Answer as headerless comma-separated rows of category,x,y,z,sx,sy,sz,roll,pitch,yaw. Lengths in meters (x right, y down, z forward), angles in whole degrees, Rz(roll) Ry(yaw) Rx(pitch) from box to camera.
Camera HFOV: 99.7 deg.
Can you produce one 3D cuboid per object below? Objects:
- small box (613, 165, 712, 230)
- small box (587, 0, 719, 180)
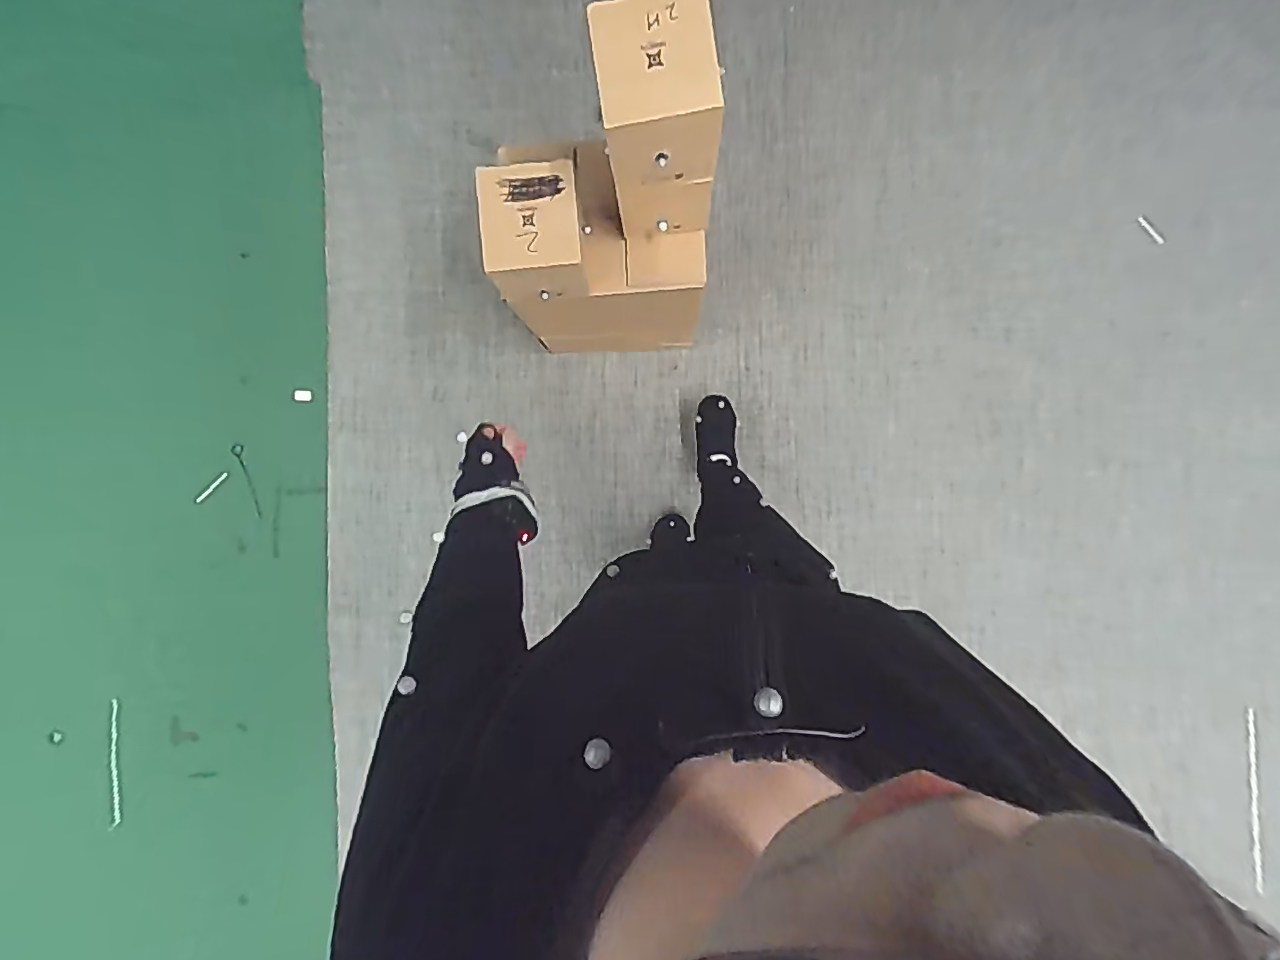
small box,0.036,-0.579,0.971,0.168,0.176,0.179,-5,91,4
small box,0.024,-0.577,0.807,0.168,0.176,0.179,-7,90,3
